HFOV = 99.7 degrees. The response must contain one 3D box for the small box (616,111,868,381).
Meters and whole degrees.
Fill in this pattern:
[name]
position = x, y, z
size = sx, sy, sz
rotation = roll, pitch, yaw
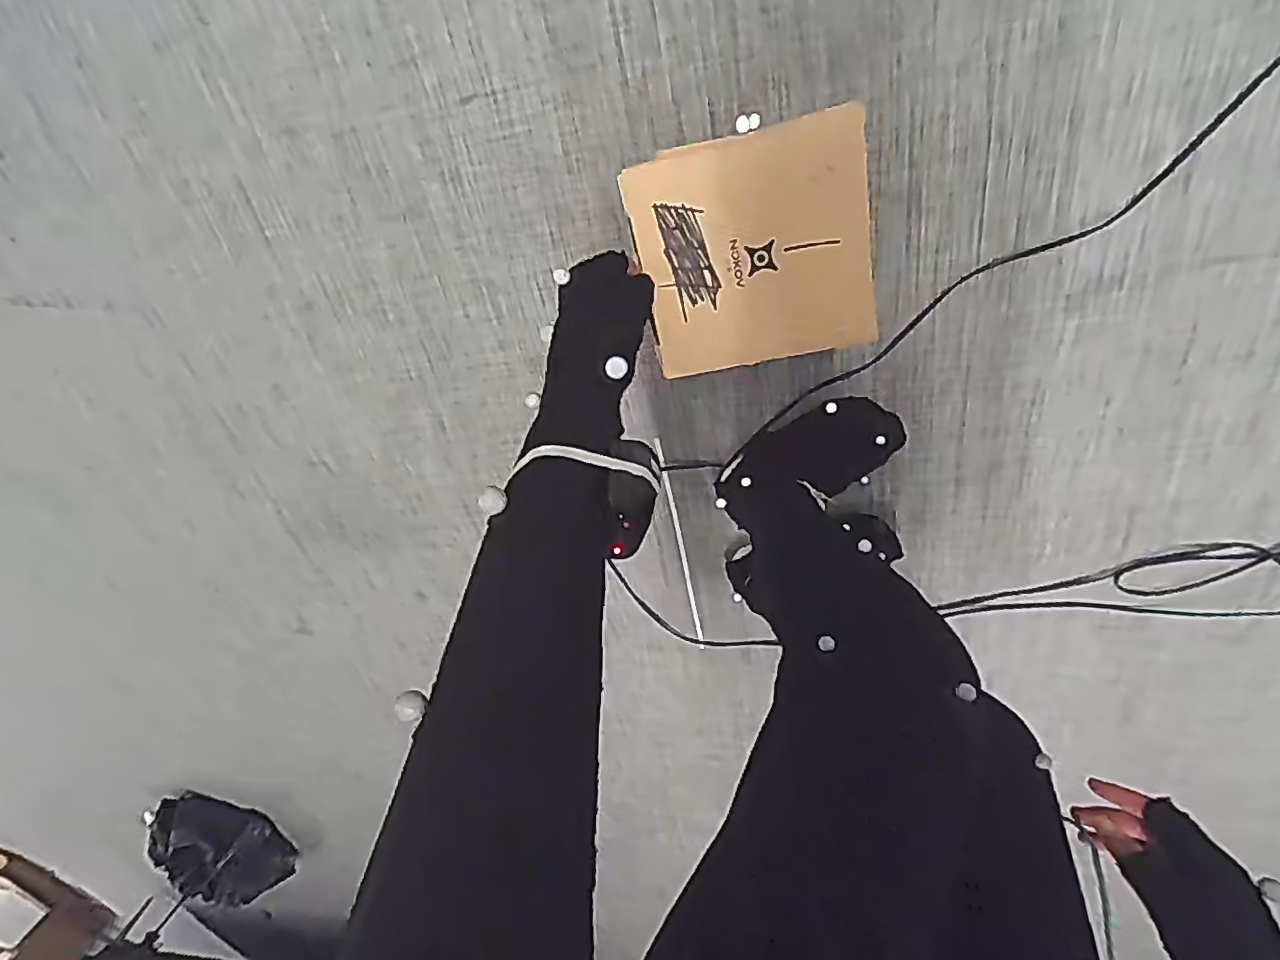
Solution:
[small box]
position = 0.096, -0.205, 0.486
size = 0.179, 0.176, 0.168
rotation = -8, 118, 15
